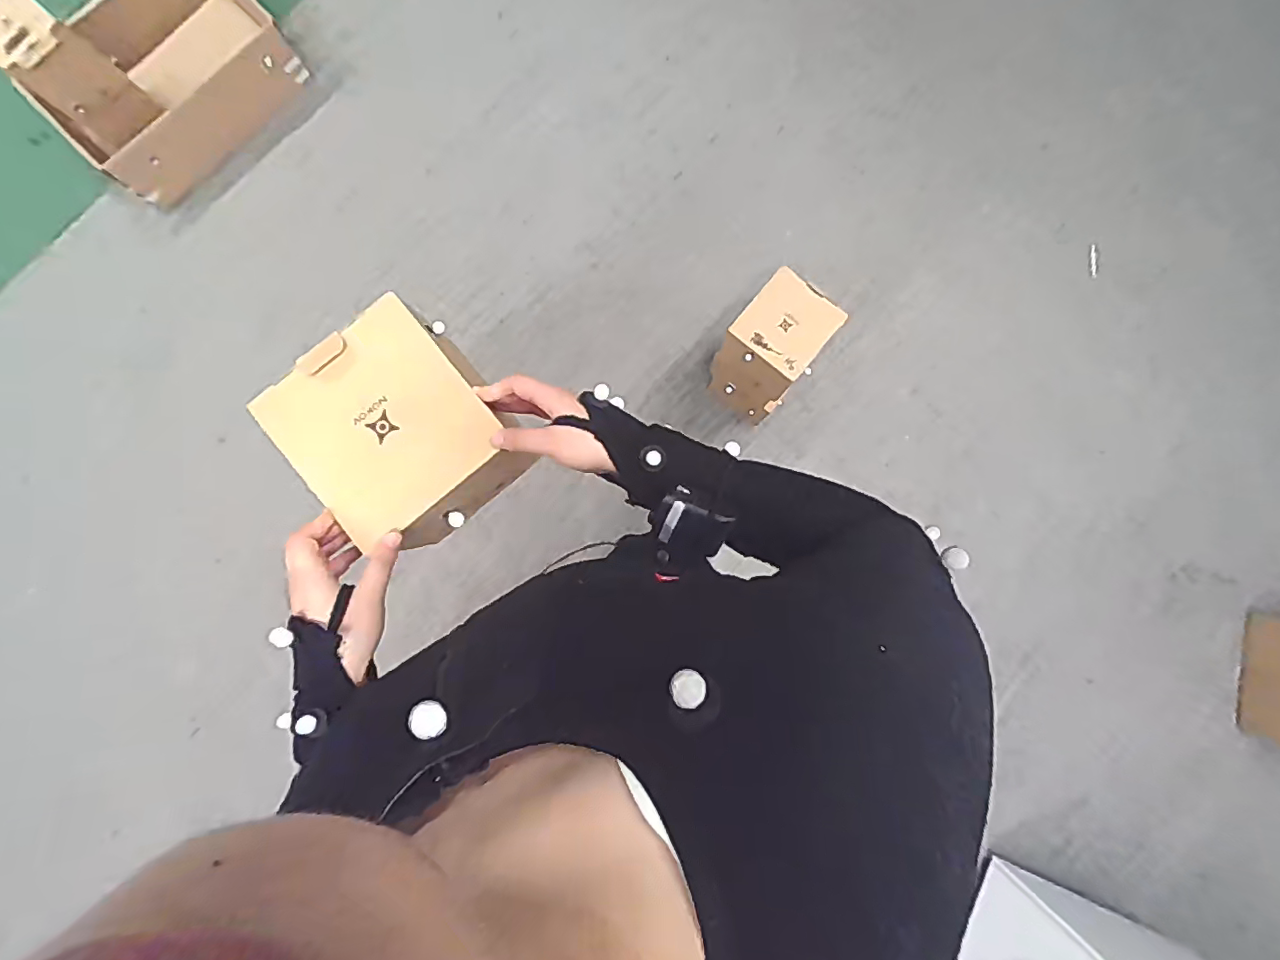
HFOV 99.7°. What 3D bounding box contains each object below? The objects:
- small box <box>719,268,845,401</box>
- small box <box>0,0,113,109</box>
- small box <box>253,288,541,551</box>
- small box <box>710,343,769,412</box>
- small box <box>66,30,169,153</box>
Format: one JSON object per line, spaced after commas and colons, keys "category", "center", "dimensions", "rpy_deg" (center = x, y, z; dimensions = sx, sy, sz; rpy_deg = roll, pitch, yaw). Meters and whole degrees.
{"category": "small box", "center": [0.284, -0.295, 1.128], "dimensions": [0.168, 0.176, 0.179], "rpy_deg": [40, 86, 4]}
{"category": "small box", "center": [-1.448, -1.041, 1.296], "dimensions": [0.179, 0.176, 0.168], "rpy_deg": [43, 85, 4]}
{"category": "small box", "center": [-0.222, -0.052, 0.550], "dimensions": [0.168, 0.176, 0.179], "rpy_deg": [-40, 88, -3]}
{"category": "small box", "center": [0.282, -0.289, 1.292], "dimensions": [0.168, 0.176, 0.179], "rpy_deg": [40, 87, 4]}
{"category": "small box", "center": [-1.453, -1.039, 1.461], "dimensions": [0.179, 0.176, 0.168], "rpy_deg": [42, 86, 3]}
